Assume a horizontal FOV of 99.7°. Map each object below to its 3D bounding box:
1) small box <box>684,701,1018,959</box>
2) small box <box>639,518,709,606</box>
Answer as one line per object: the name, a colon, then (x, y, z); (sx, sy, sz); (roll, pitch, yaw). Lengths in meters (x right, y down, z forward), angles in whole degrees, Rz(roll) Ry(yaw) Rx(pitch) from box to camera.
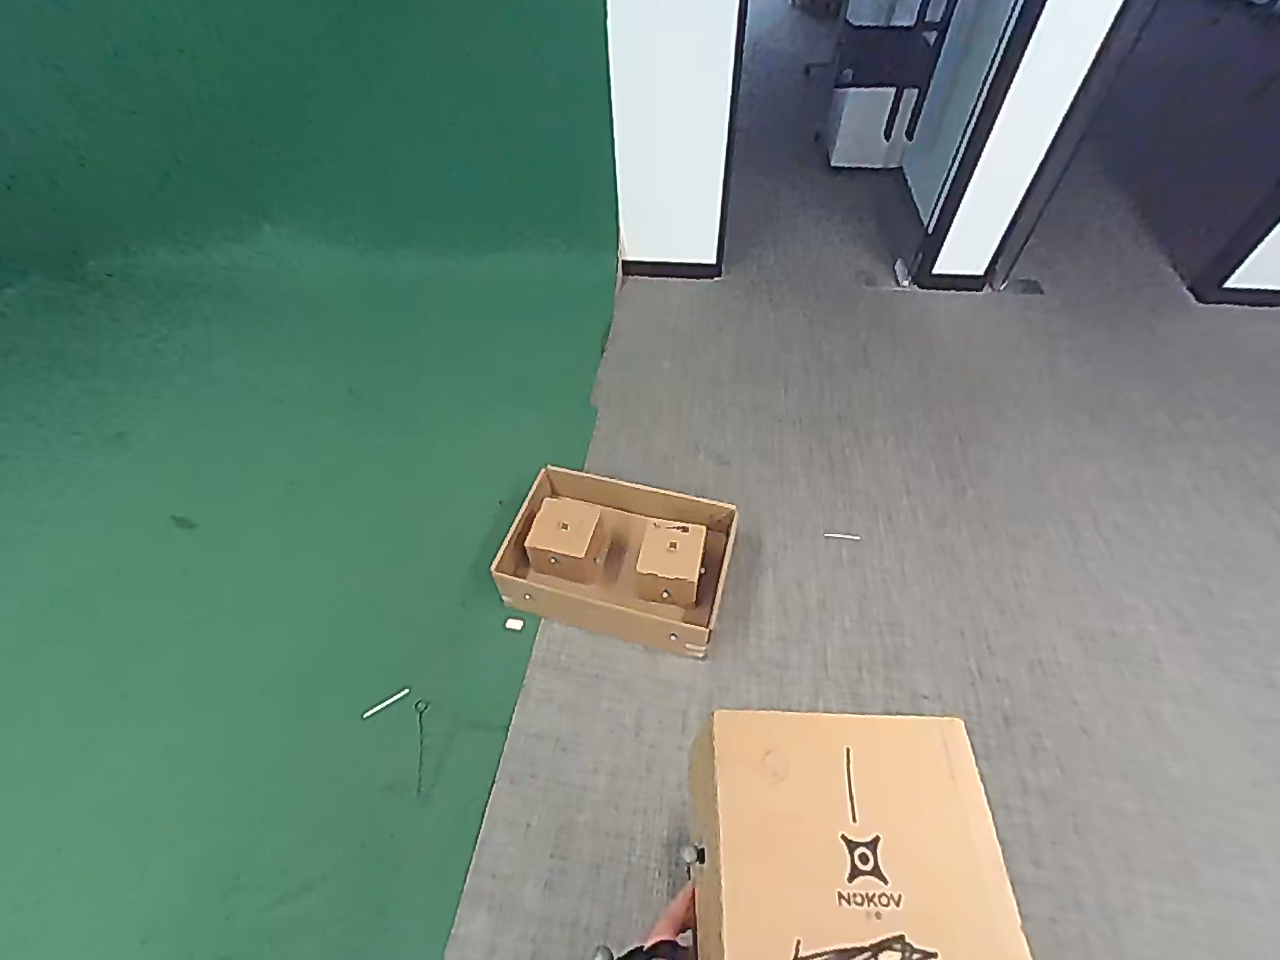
small box: (0.119, 0.265, 0.374); (0.168, 0.176, 0.179); (2, 55, 0)
small box: (0.098, 0.233, 1.515); (0.168, 0.176, 0.179); (8, 54, 9)
